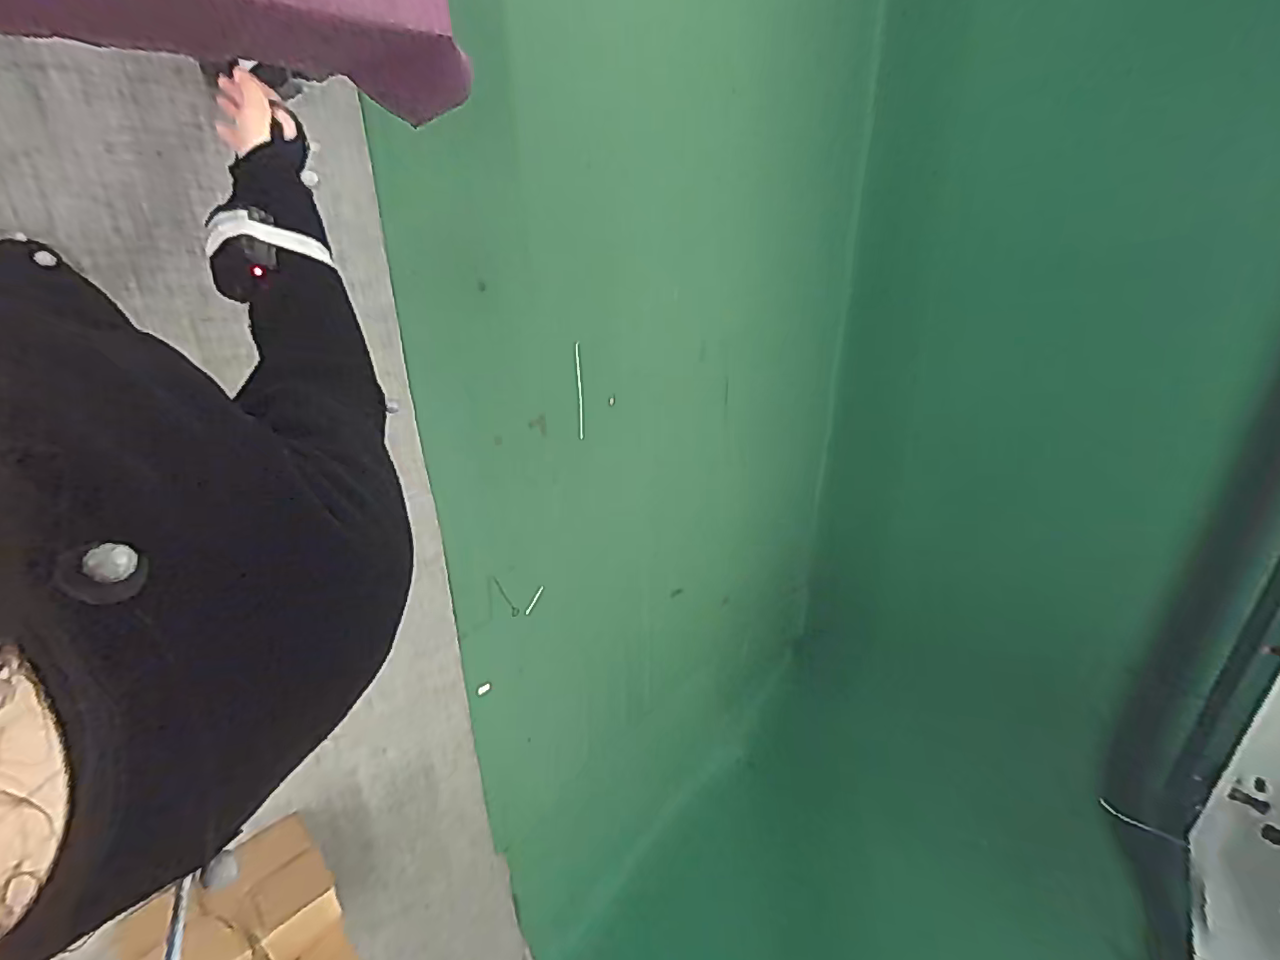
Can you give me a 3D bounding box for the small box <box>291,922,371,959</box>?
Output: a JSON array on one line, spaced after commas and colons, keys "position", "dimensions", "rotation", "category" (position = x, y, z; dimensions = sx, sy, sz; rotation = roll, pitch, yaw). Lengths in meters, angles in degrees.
[{"position": [-0.795, 1.299, 1.388], "dimensions": [0.168, 0.176, 0.179], "rotation": [-21, 122, -45], "category": "small box"}]
